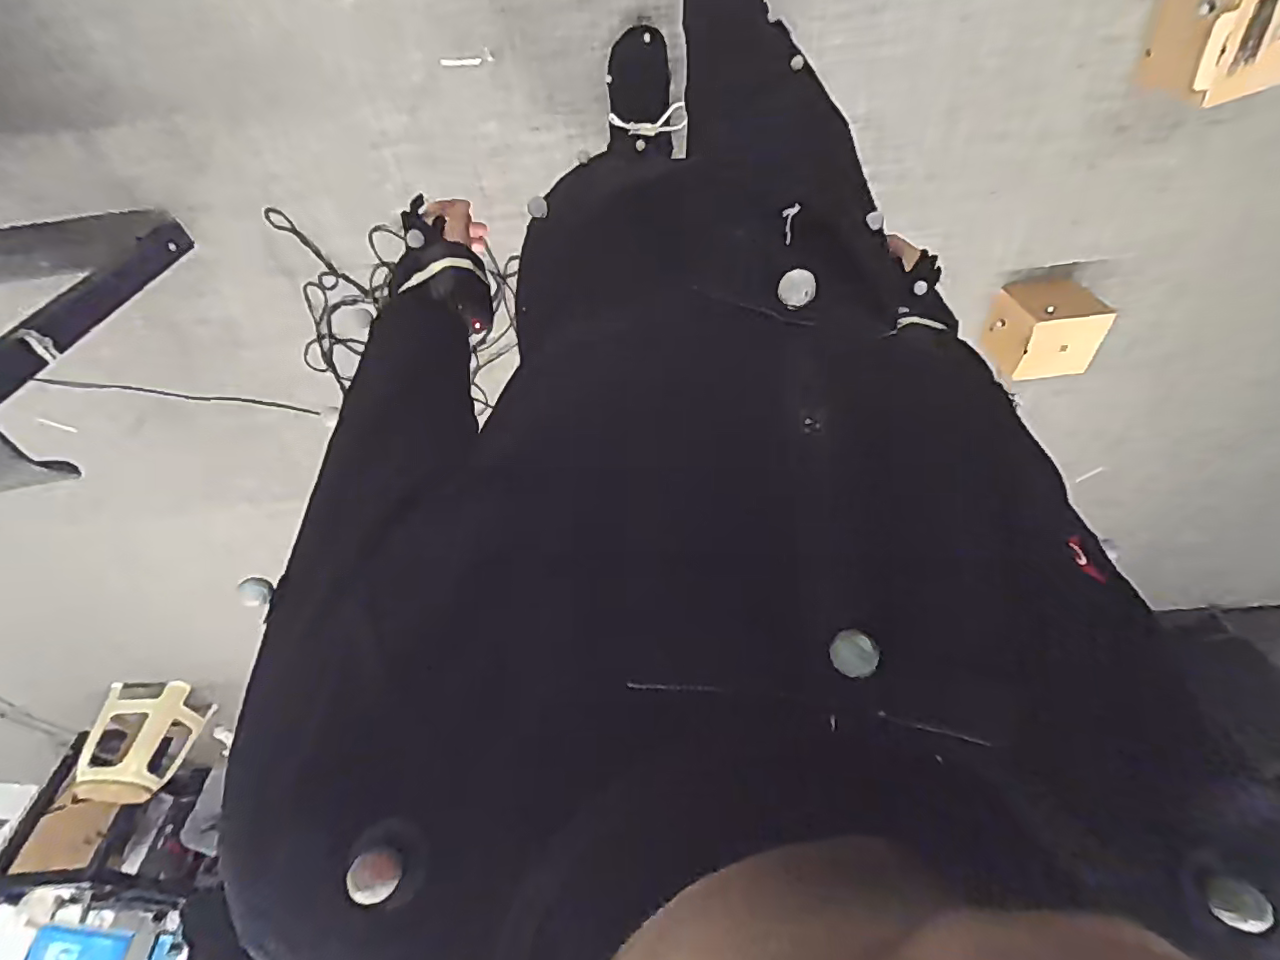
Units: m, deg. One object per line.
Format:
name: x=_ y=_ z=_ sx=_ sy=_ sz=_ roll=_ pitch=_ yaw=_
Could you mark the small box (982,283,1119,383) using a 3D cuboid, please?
small box: x=0.979 y=-0.360 z=1.309 sx=0.179 sy=0.176 sz=0.168 roll=-6 pitch=136 yaw=4
